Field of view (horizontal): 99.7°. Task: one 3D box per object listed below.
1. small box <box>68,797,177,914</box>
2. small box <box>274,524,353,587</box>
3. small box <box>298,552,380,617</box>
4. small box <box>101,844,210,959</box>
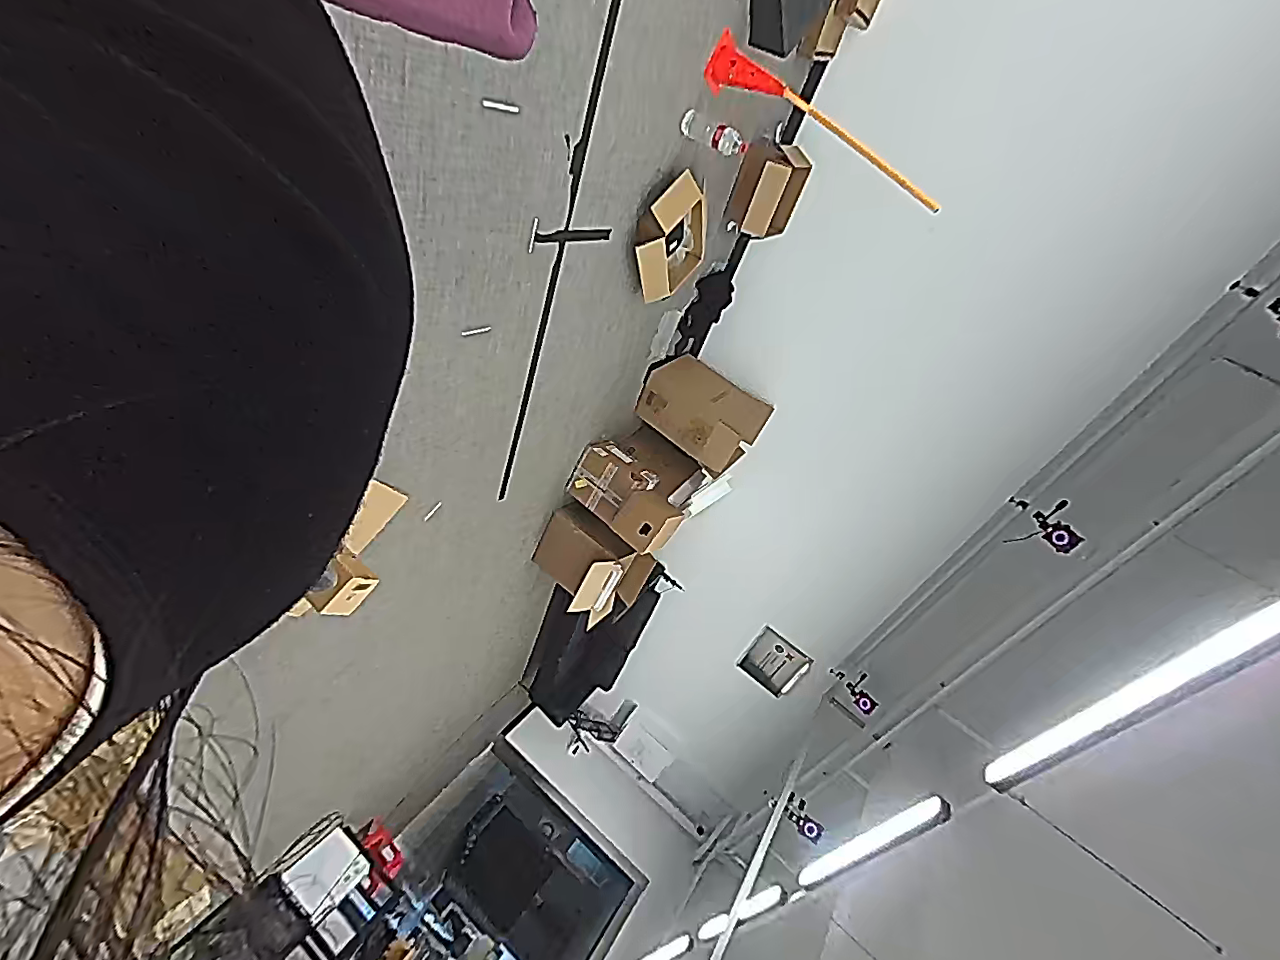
[{"bbox_3d":[-1.417,1.027,1.486,0.179,0.176,0.168,-34,156,-52],"label":"small box"},{"bbox_3d":[-1.262,0.296,2.080,0.179,0.176,0.168,-50,163,-6],"label":"small box"},{"bbox_3d":[-1.136,0.392,2.034,0.179,0.176,0.168,-50,163,-7],"label":"small box"},{"bbox_3d":[-1.294,1.130,1.451,0.168,0.176,0.179,-31,154,-54],"label":"small box"}]
